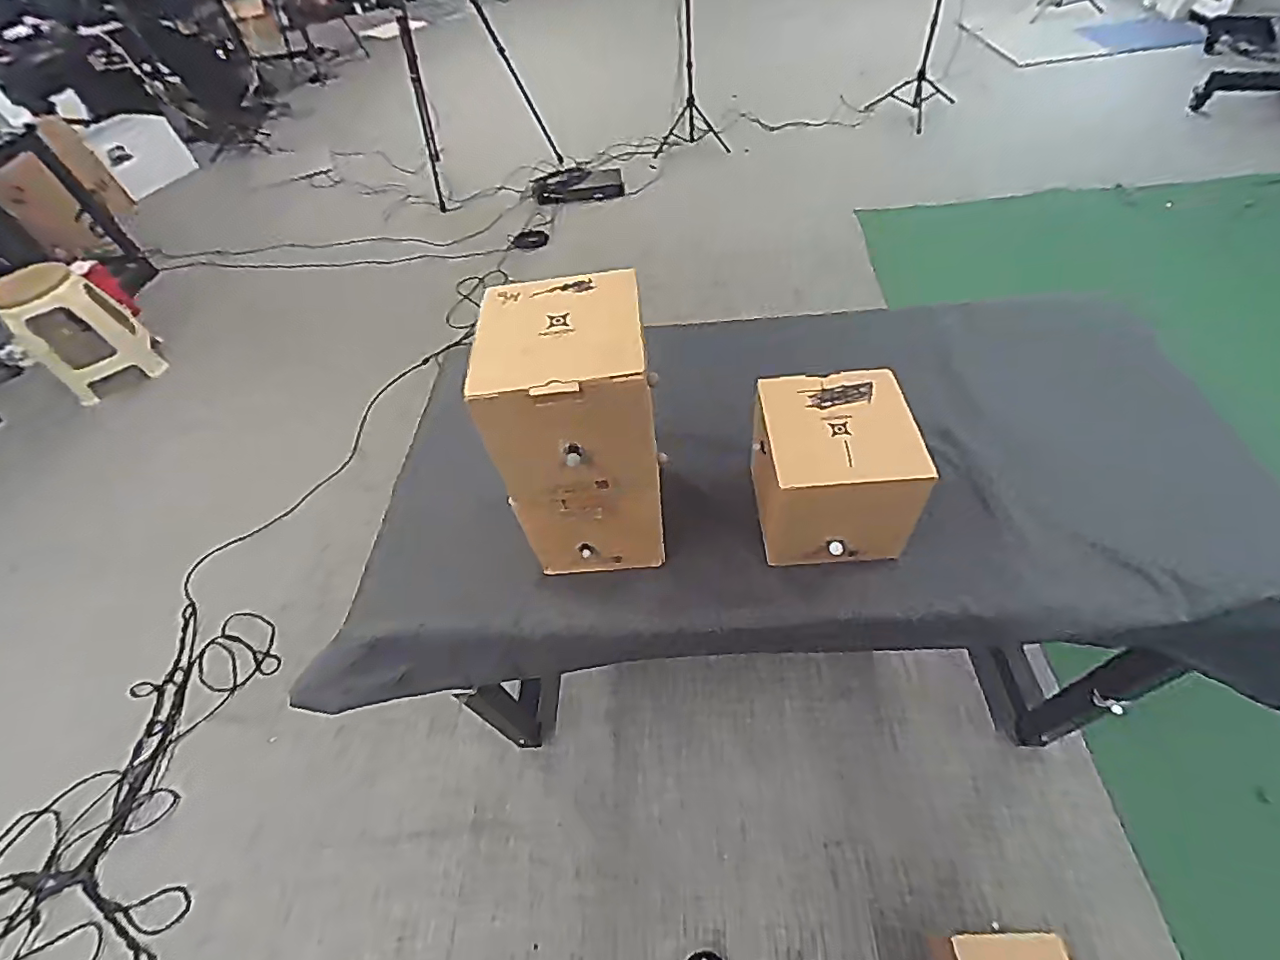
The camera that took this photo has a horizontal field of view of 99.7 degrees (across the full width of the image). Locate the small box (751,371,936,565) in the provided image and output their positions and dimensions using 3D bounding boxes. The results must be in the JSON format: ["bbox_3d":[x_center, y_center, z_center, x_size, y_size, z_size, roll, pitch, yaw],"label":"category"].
[{"bbox_3d":[0.235,-0.012,0.680,0.168,0.176,0.179,-5,51,5],"label":"small box"}]

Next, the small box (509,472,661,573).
[{"bbox_3d":[-0.062,0.003,0.714,0.168,0.176,0.179,-5,52,3],"label":"small box"}]

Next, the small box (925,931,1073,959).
[{"bbox_3d":[0.602,0.848,0.881,0.179,0.176,0.168,-6,50,4],"label":"small box"}]

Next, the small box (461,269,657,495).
[{"bbox_3d":[-0.074,-0.096,0.584,0.168,0.176,0.179,-6,52,2],"label":"small box"}]
